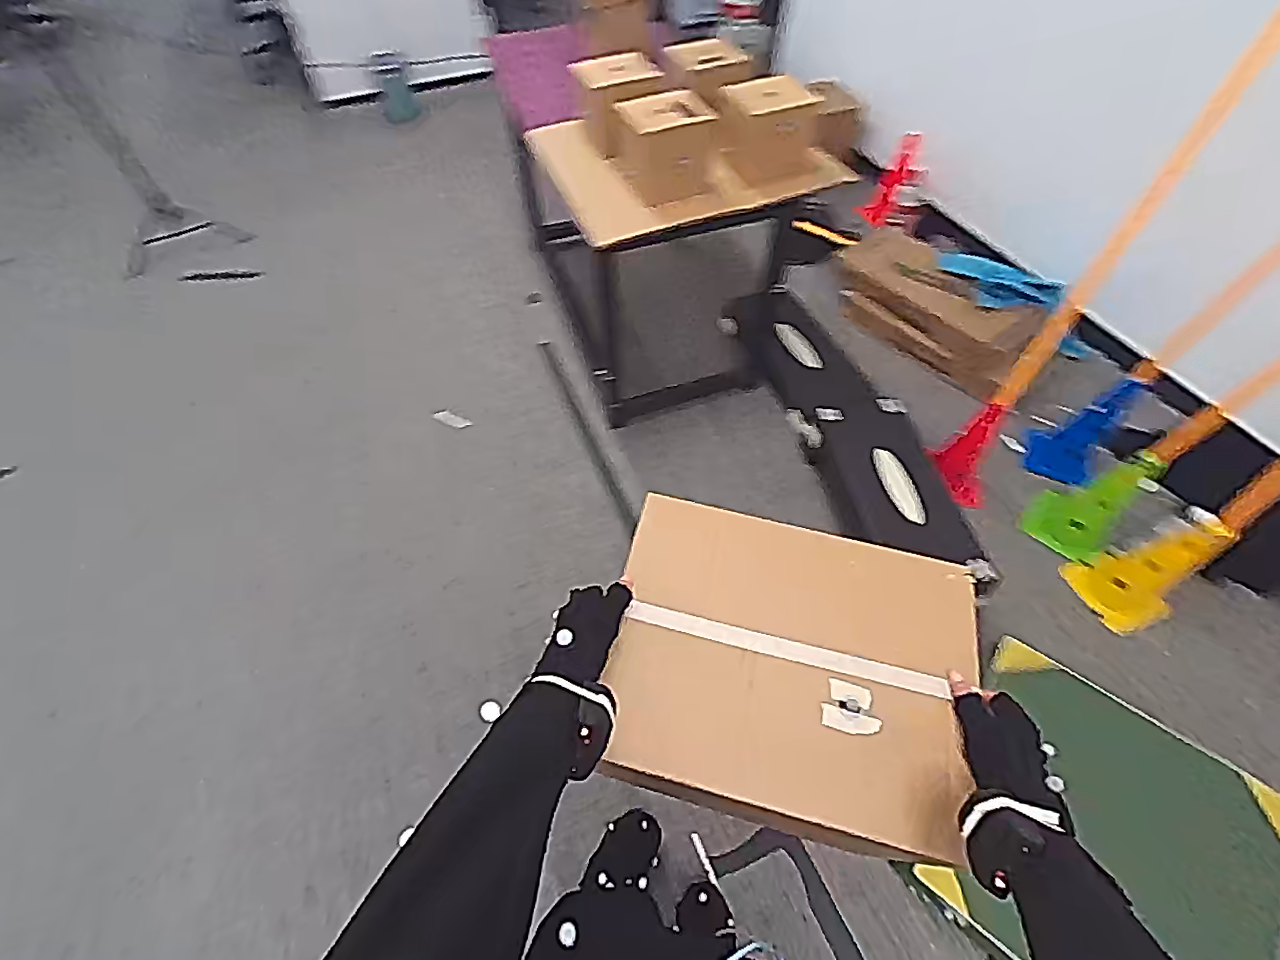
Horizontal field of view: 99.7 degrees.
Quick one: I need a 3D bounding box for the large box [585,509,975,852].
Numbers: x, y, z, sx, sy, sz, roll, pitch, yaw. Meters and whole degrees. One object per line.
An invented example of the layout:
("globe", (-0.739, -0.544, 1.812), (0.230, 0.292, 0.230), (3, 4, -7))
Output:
("large box", (0.160, 0.277, 0.746), (0.408, 0.320, 0.320), (12, 60, 5))
